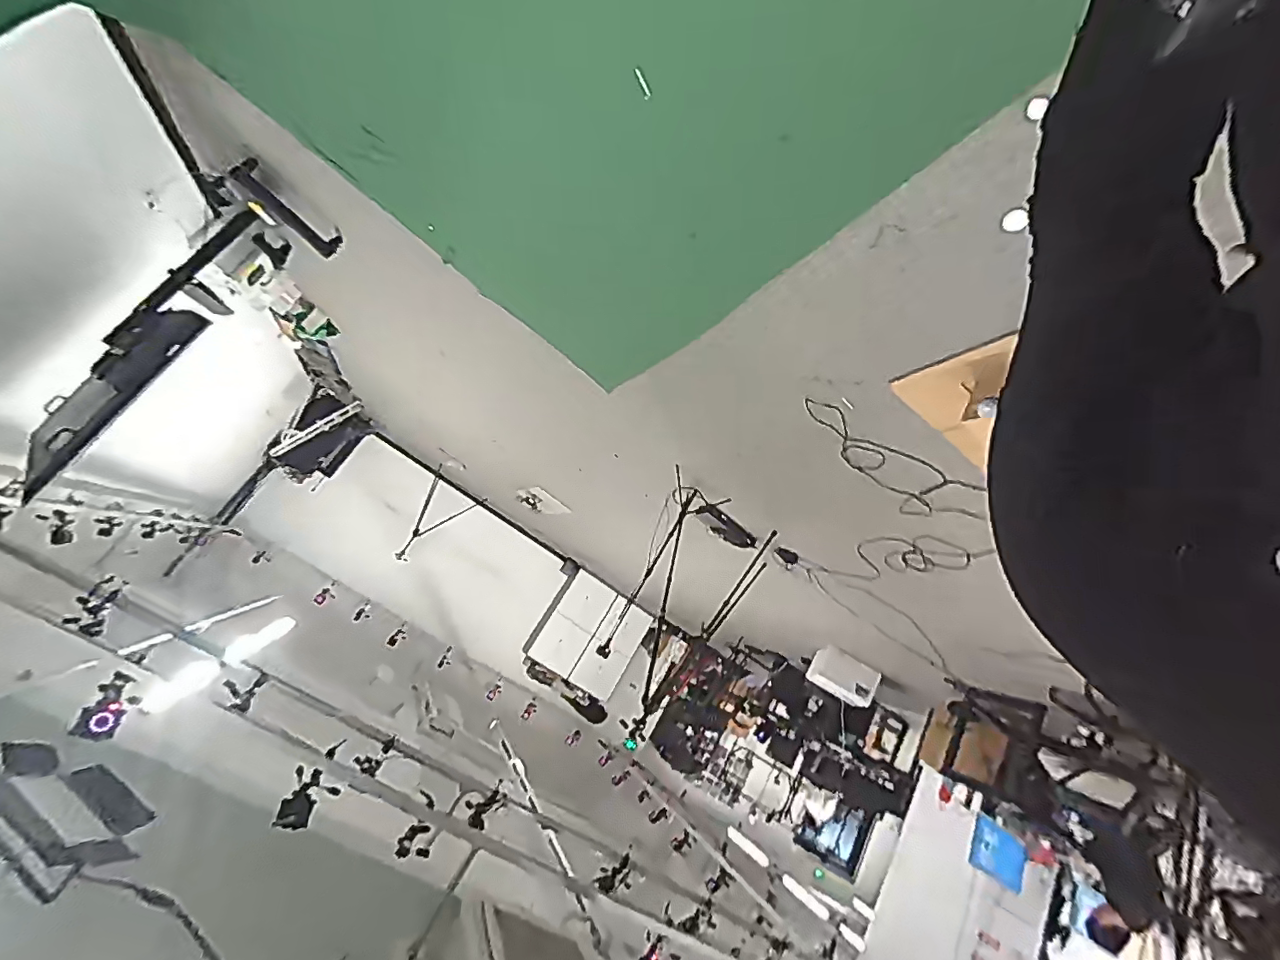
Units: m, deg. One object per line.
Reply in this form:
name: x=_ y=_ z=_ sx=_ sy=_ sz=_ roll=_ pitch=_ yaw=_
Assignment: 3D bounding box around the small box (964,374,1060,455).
small box: x=1.167 y=-0.204 z=1.693 sx=0.168 sy=0.176 sz=0.179 roll=37 pitch=160 yaw=-17
